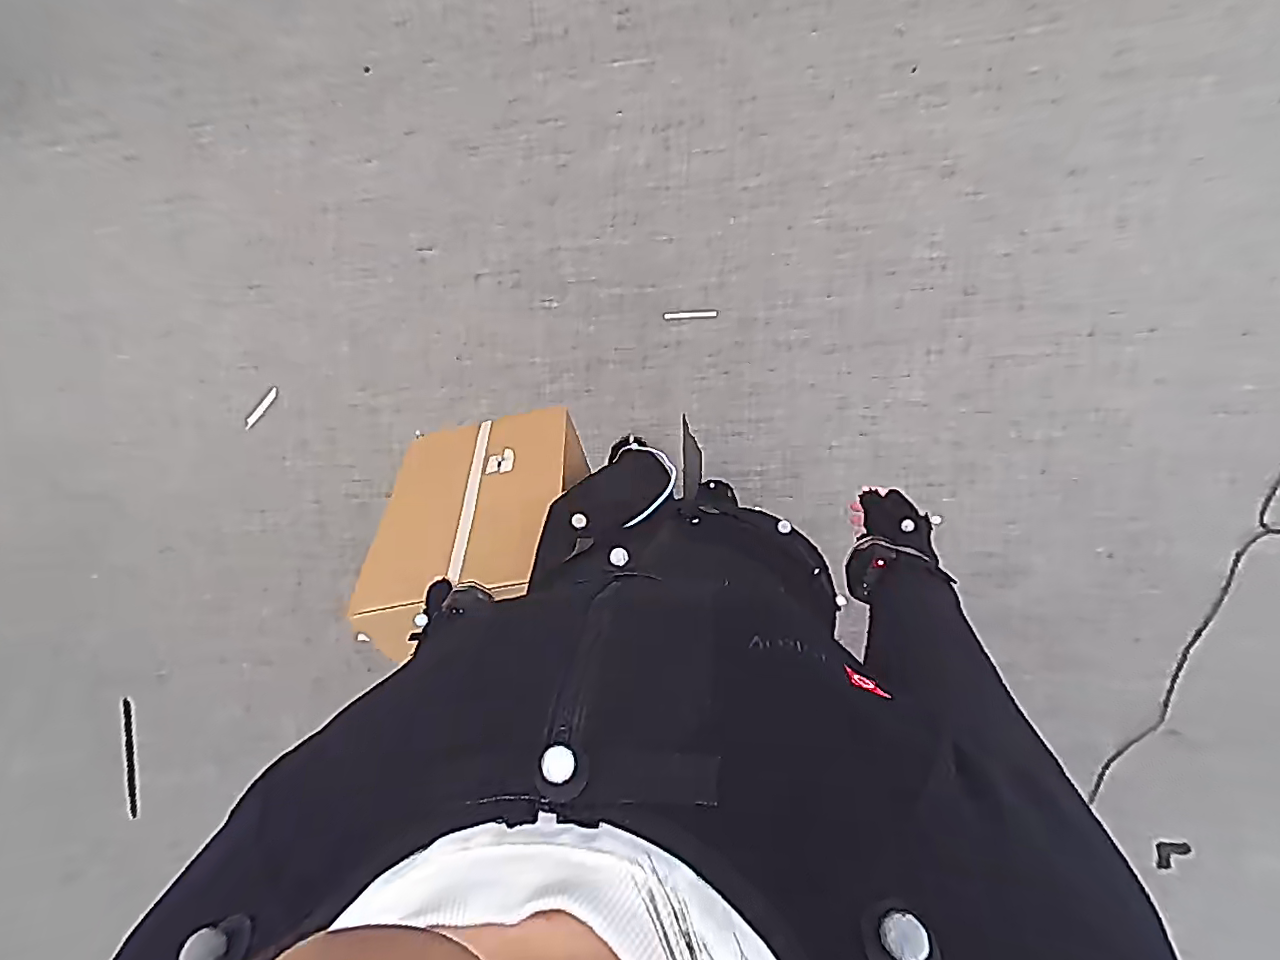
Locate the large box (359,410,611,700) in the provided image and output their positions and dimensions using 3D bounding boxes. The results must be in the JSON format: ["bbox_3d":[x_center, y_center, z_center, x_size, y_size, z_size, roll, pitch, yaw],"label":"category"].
[{"bbox_3d":[-0.244,0.134,1.013,0.320,0.408,0.320,-11,132,6],"label":"large box"}]
